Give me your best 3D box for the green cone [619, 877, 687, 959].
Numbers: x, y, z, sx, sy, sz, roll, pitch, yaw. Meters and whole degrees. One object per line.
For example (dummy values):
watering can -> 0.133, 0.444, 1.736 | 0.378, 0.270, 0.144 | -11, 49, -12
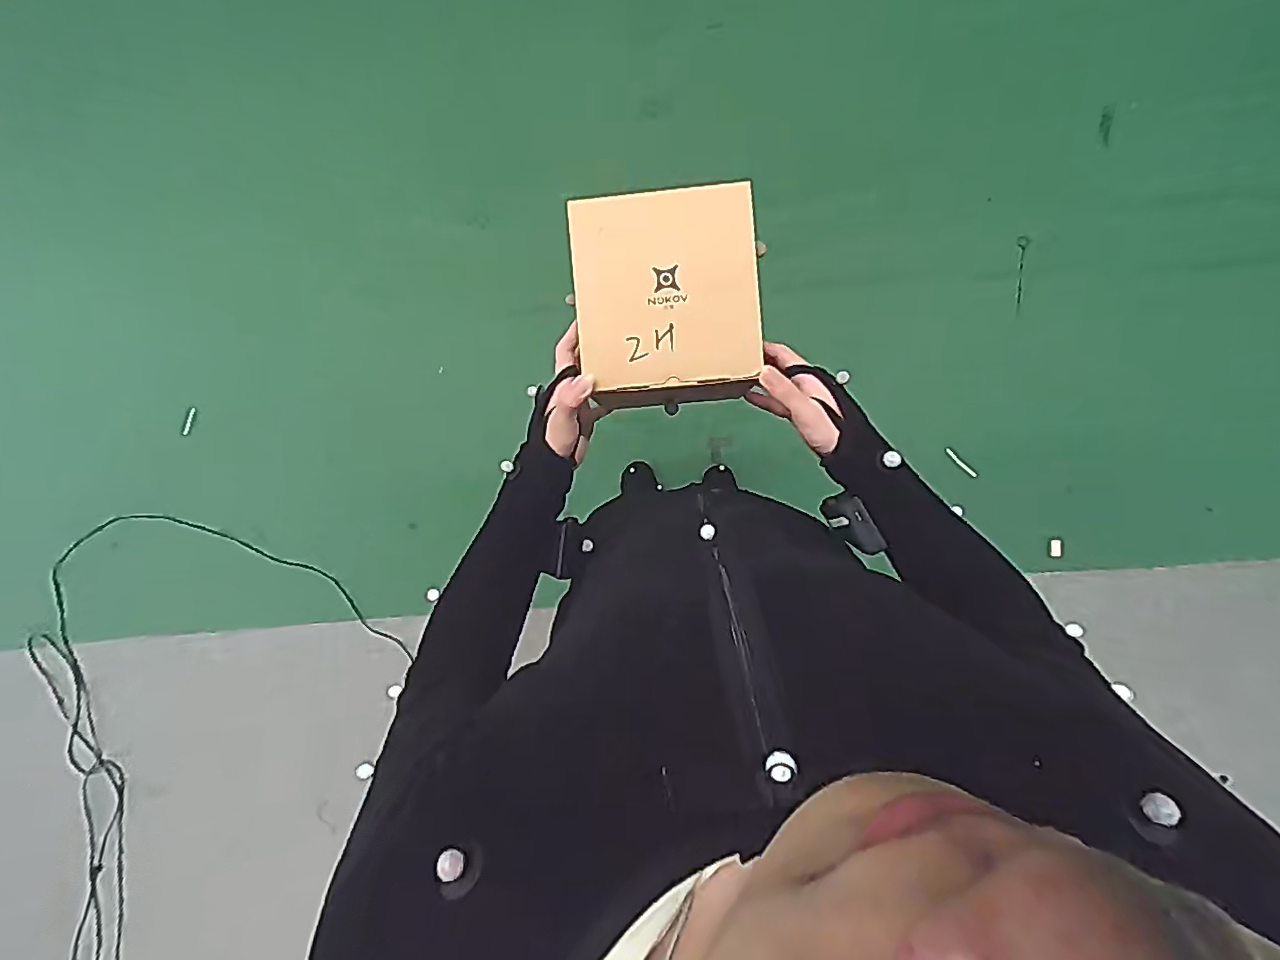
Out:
green cone -> 0.028, 1.319, 1.484 | 0.202, 0.368, 0.200 | -4, 91, 4
